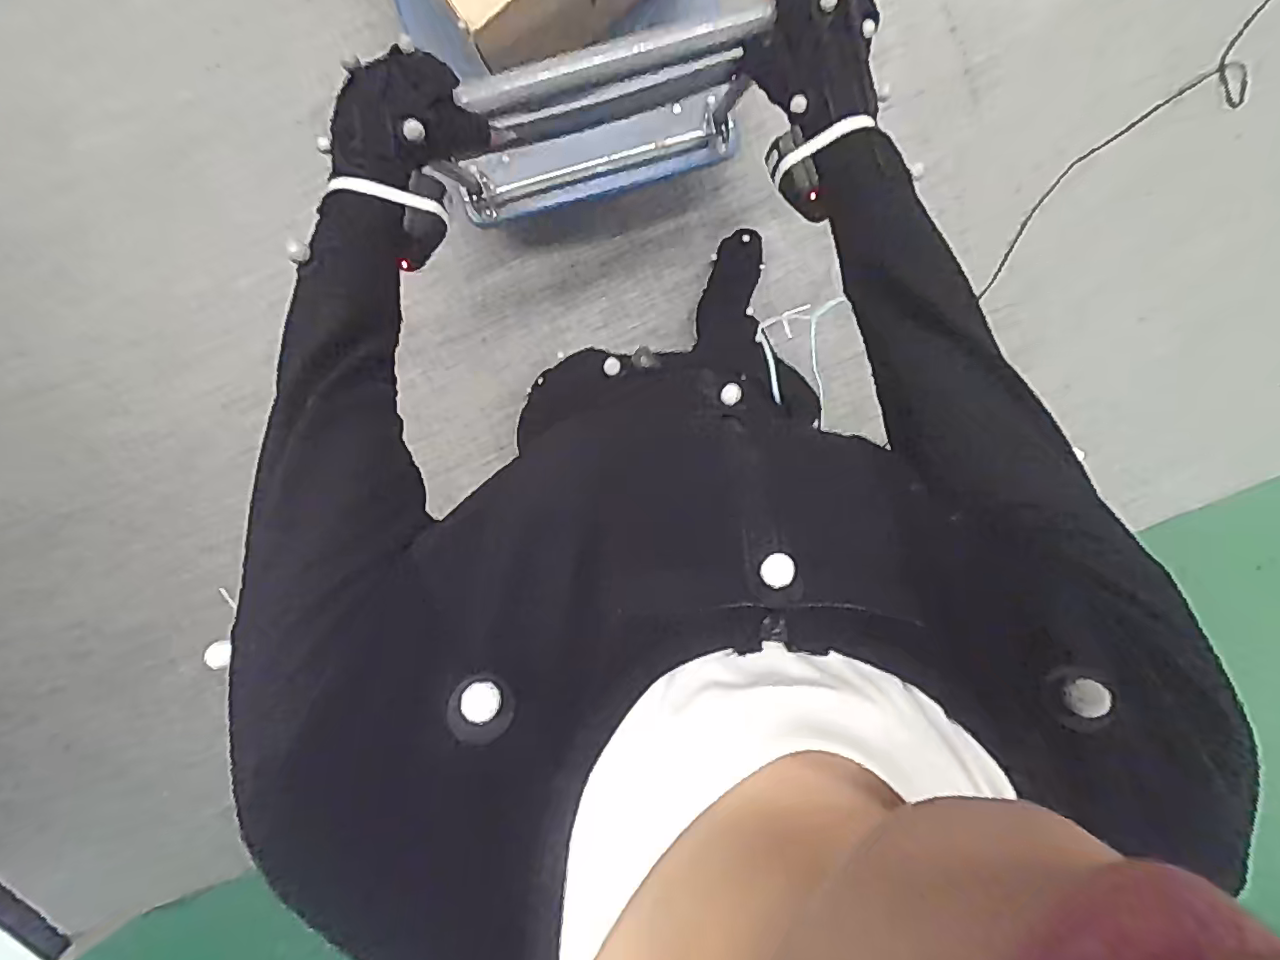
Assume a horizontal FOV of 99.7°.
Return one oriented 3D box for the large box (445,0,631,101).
[{"bbox_3d":[-0.163,-0.906,0.832,0.408,0.320,0.320,-35,105,10],"label":"large box"}]
